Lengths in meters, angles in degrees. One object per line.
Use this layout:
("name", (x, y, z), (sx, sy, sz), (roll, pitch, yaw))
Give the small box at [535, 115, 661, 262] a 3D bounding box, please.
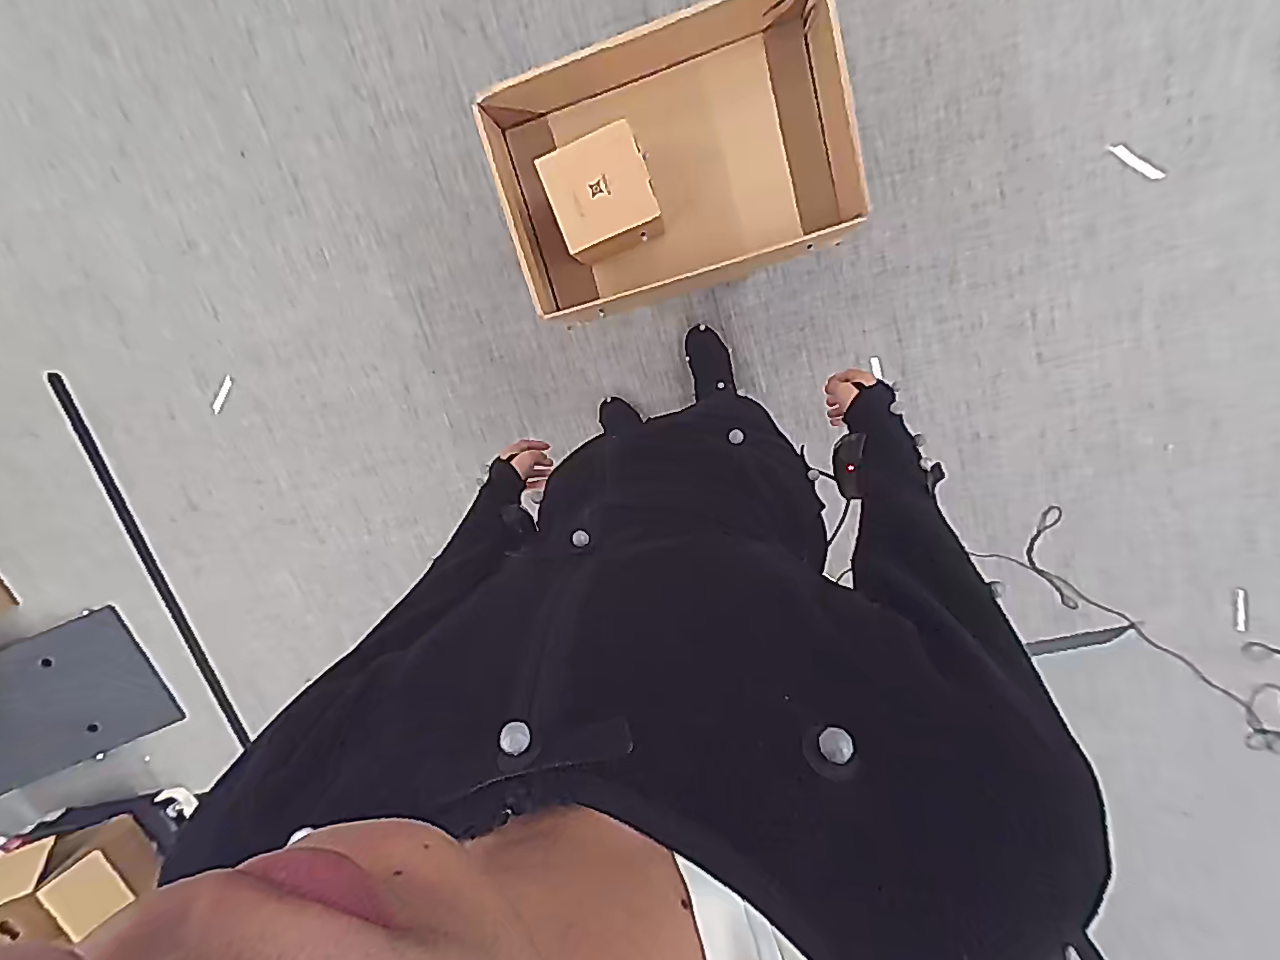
("small box", (-0.066, -0.524, 0.999), (0.179, 0.176, 0.168), (-19, 101, 10))
